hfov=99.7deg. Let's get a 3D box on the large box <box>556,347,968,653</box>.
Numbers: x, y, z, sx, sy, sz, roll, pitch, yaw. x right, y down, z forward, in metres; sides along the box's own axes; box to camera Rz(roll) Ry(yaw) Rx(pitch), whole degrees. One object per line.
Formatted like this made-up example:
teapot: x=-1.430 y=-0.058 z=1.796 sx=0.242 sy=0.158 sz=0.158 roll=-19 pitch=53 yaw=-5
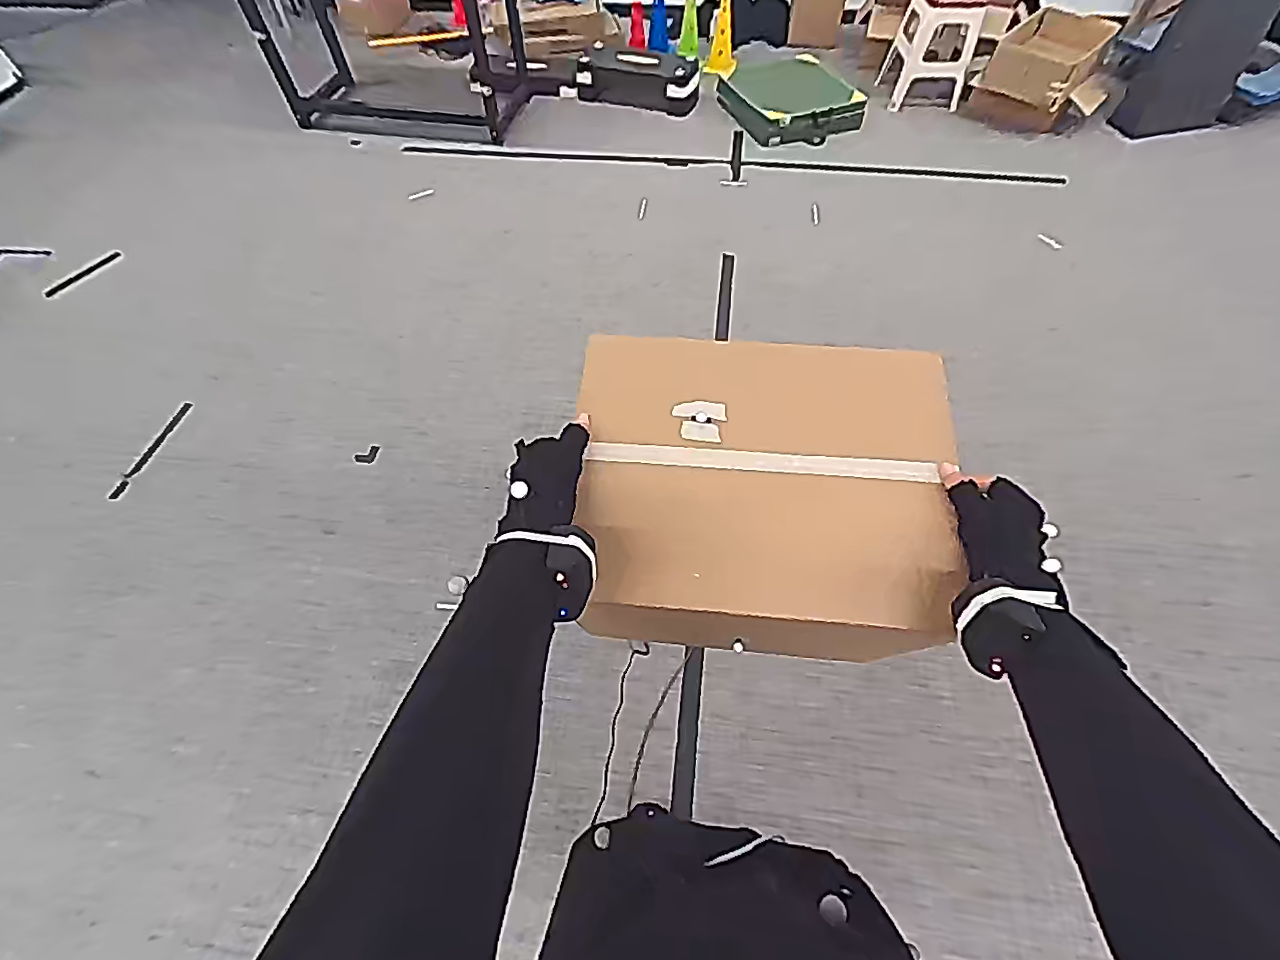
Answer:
large box: x=0.137 y=0.045 z=0.717 sx=0.408 sy=0.320 sz=0.320 roll=4 pitch=66 yaw=6
